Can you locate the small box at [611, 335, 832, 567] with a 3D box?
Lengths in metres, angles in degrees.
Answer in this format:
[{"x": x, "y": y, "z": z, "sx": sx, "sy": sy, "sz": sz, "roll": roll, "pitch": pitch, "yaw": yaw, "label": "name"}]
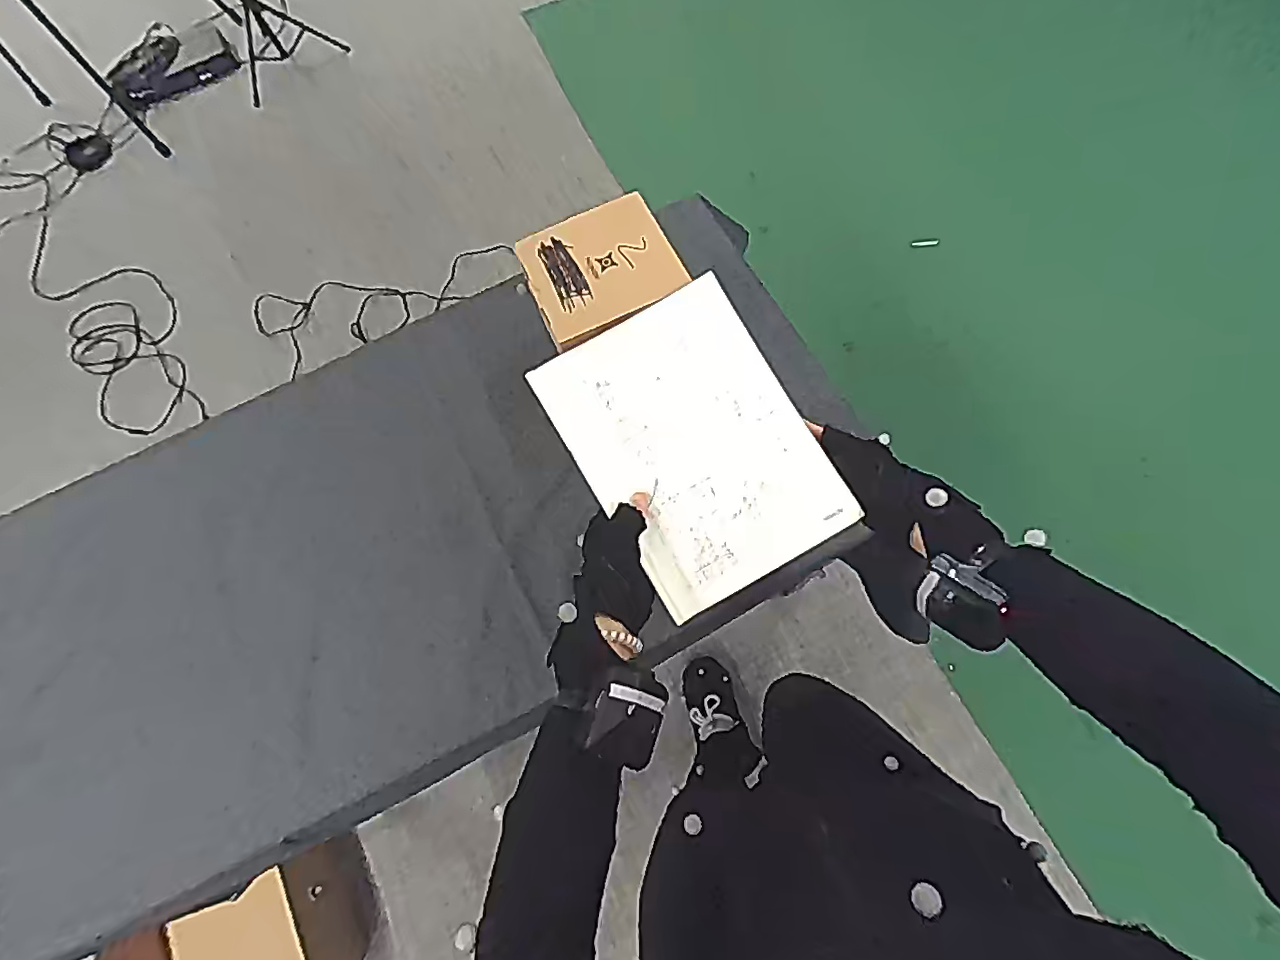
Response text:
[{"x": 0.081, "y": -0.022, "z": 0.612, "sx": 0.168, "sy": 0.176, "sz": 0.179, "roll": -25, "pitch": 71, "yaw": -4, "label": "small box"}]
